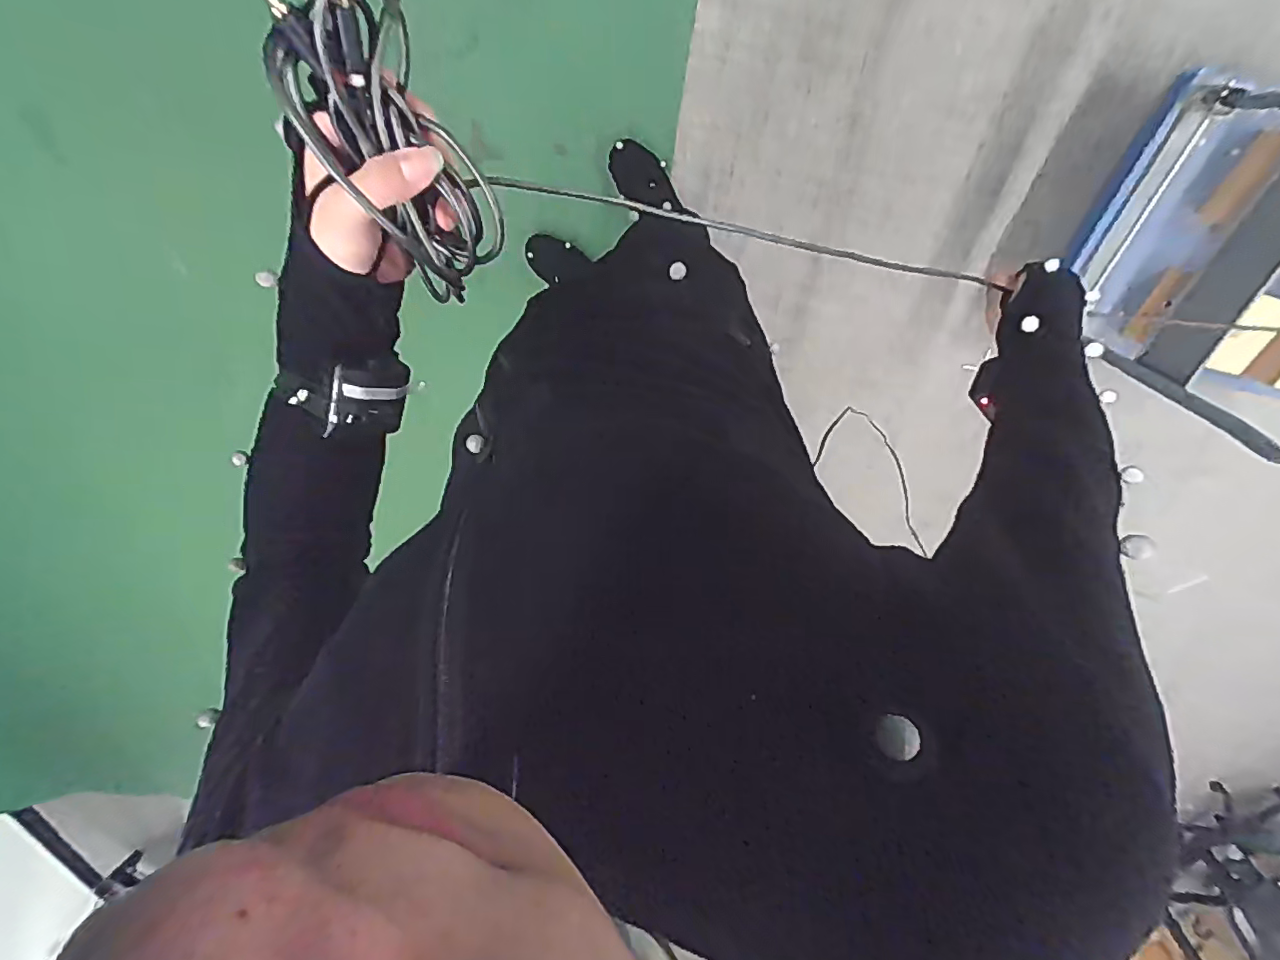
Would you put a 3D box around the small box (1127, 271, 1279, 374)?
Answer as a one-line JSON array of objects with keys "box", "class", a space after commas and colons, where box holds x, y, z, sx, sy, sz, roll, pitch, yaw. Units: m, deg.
[{"box": [1.306, -0.368, 1.246, 0.179, 0.176, 0.168, 12, 123, -5], "class": "small box"}]
